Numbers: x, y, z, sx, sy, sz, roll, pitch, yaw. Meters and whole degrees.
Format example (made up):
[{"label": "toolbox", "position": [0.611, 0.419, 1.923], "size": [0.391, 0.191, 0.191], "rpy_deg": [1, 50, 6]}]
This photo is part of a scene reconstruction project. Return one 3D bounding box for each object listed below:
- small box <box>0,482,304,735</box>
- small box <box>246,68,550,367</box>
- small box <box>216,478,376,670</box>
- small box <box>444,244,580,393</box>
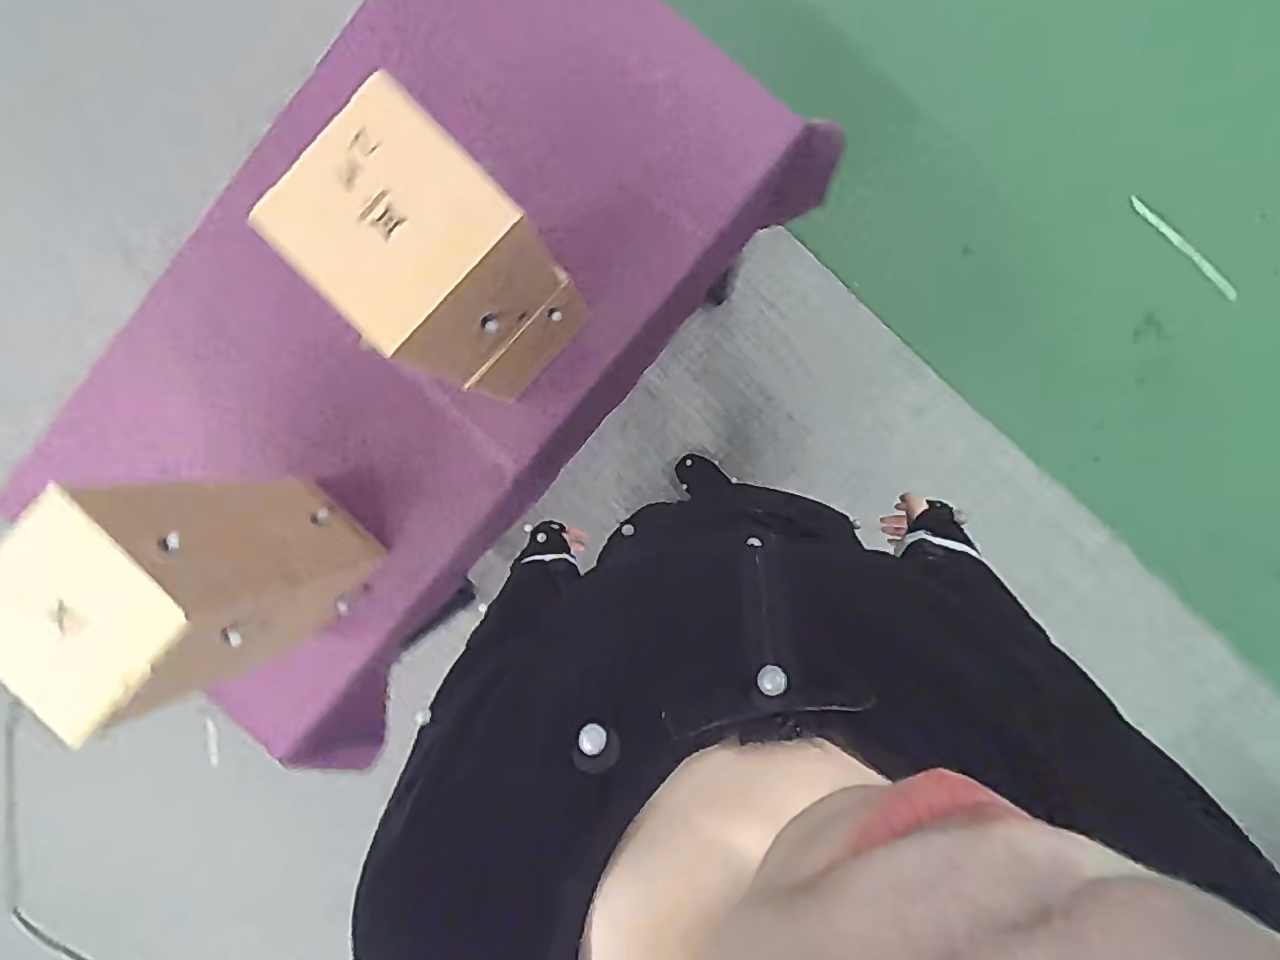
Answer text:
[{"label": "small box", "position": [-0.506, 0.113, 0.564], "size": [0.179, 0.176, 0.168], "rpy_deg": [44, 94, 2]}, {"label": "small box", "position": [-0.213, -0.229, 0.531], "size": [0.168, 0.176, 0.179], "rpy_deg": [-45, 89, 4]}, {"label": "small box", "position": [-0.492, 0.111, 0.727], "size": [0.168, 0.176, 0.179], "rpy_deg": [42, 94, 2]}, {"label": "small box", "position": [-0.198, -0.232, 0.695], "size": [0.168, 0.176, 0.179], "rpy_deg": [43, 94, 1]}]
